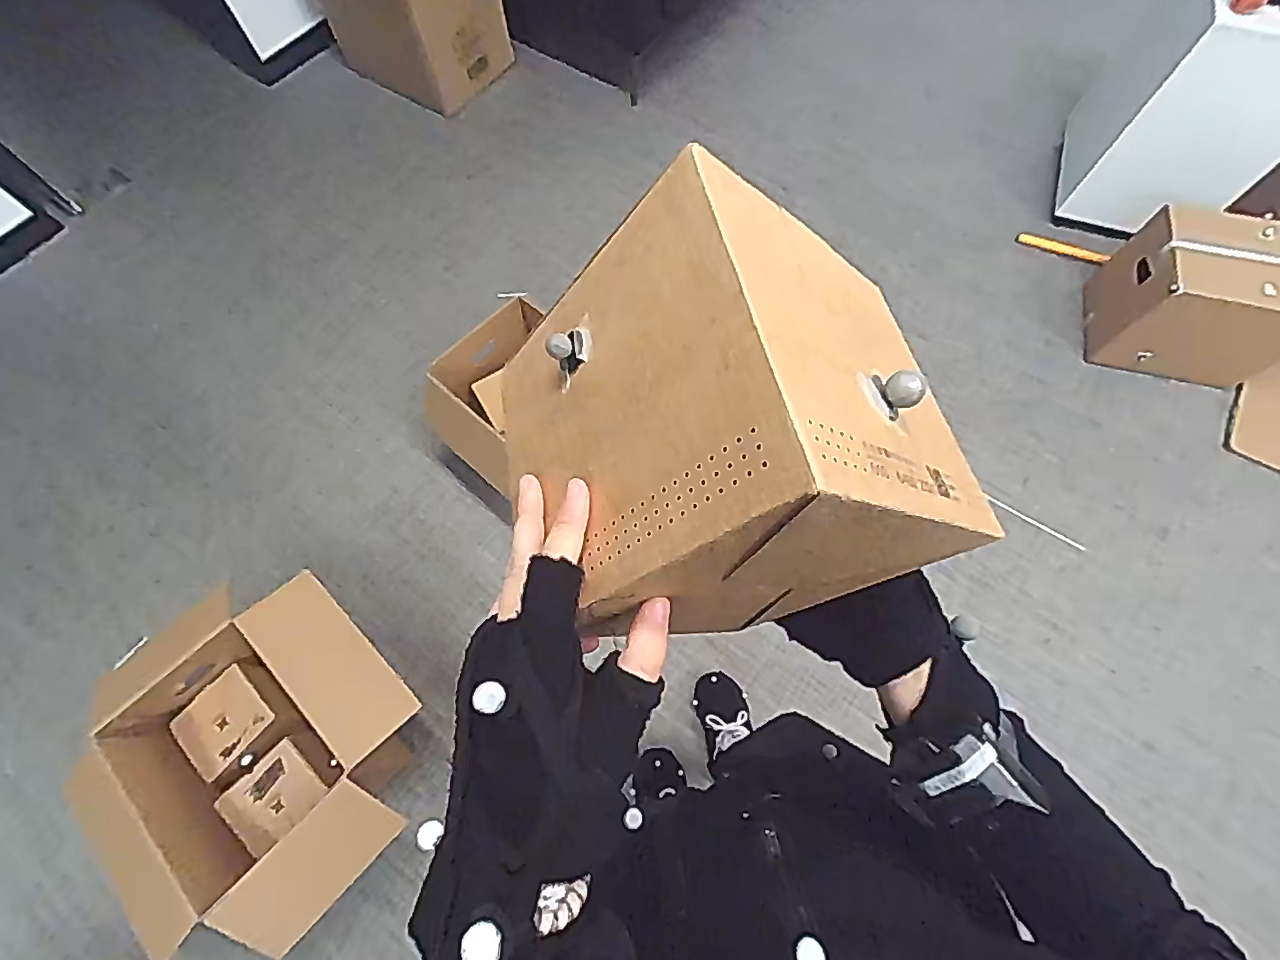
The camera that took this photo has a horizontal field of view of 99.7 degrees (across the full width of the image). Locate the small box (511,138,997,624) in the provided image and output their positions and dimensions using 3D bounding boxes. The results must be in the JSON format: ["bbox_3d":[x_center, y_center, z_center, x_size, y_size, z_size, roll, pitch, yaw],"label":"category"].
[{"bbox_3d":[0.046,-0.024,0.297,0.168,0.179,0.176,11,57,-40],"label":"small box"}]
